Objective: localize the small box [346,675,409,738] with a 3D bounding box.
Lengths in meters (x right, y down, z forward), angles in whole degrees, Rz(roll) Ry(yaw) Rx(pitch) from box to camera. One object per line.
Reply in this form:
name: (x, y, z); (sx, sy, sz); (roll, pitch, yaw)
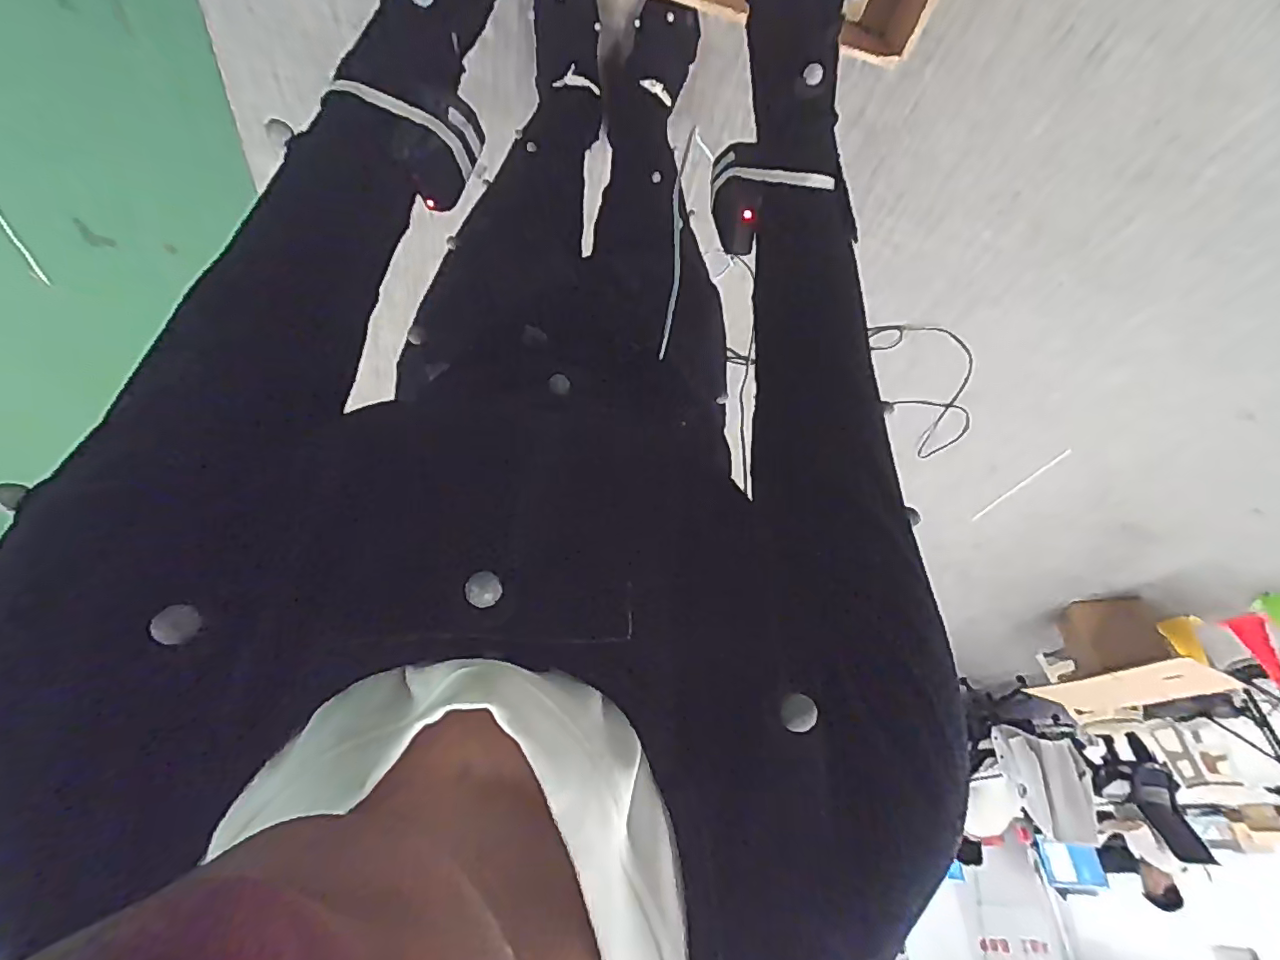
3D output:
small box: (-0.952, 0.825, 1.971); (0.168, 0.176, 0.179); (16, 143, -14)
